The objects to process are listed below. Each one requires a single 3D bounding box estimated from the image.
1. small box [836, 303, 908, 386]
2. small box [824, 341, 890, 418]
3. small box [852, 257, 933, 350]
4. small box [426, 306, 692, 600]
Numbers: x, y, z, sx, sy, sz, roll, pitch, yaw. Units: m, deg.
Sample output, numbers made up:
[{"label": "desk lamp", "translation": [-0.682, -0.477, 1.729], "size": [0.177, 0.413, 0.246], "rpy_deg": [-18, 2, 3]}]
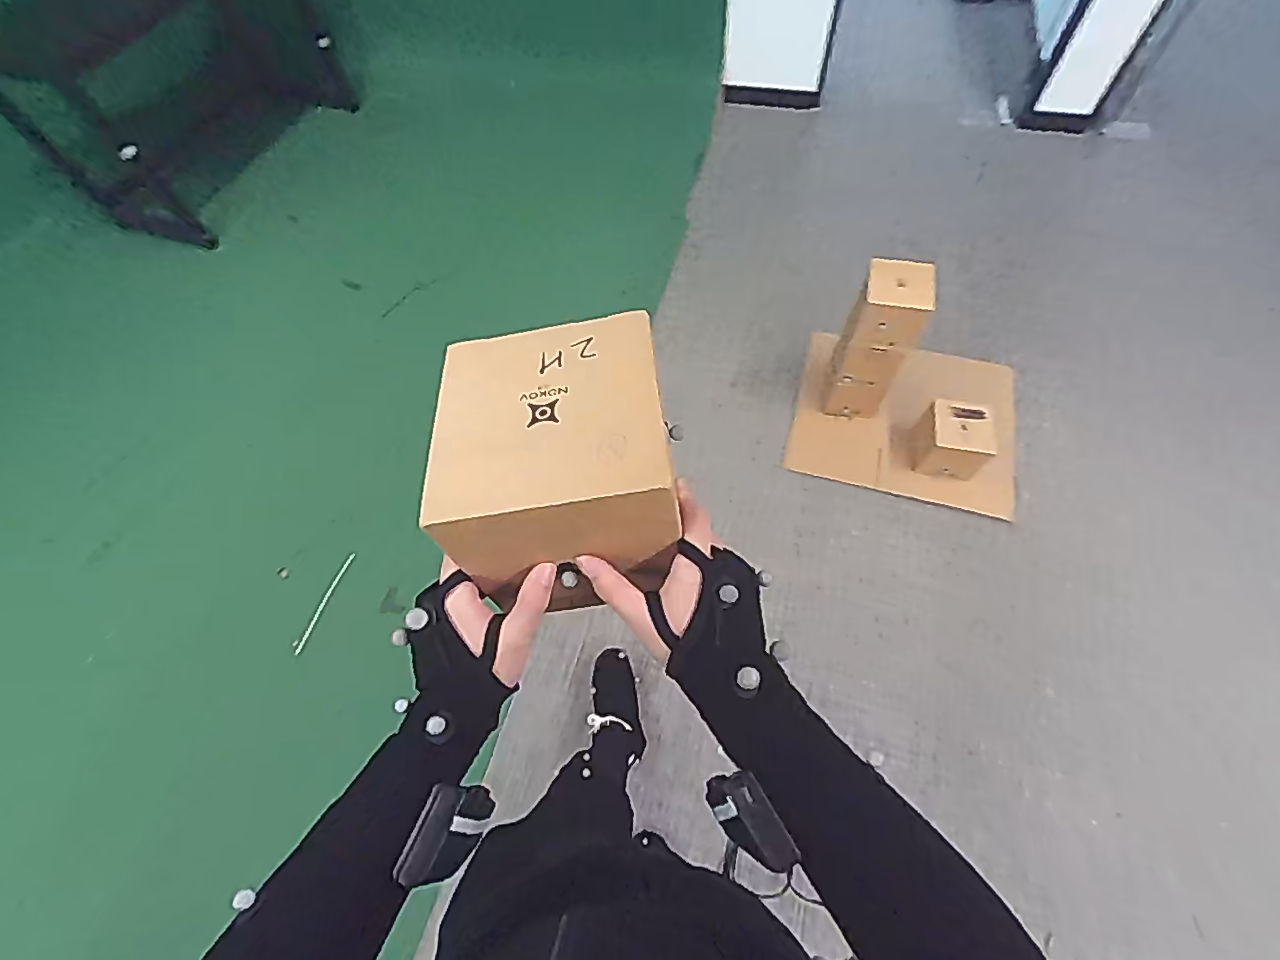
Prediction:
[{"label": "small box", "translation": [0.699, -0.406, 1.638], "size": [0.168, 0.176, 0.179], "rpy_deg": [10, 62, 10]}, {"label": "small box", "translation": [0.710, -0.329, 1.781], "size": [0.168, 0.176, 0.179], "rpy_deg": [7, 63, 8]}, {"label": "small box", "translation": [0.693, -0.483, 1.495], "size": [0.168, 0.176, 0.179], "rpy_deg": [10, 62, 10]}, {"label": "small box", "translation": [-0.051, -0.011, 0.450], "size": [0.168, 0.176, 0.179], "rpy_deg": [-8, 54, 4]}]
